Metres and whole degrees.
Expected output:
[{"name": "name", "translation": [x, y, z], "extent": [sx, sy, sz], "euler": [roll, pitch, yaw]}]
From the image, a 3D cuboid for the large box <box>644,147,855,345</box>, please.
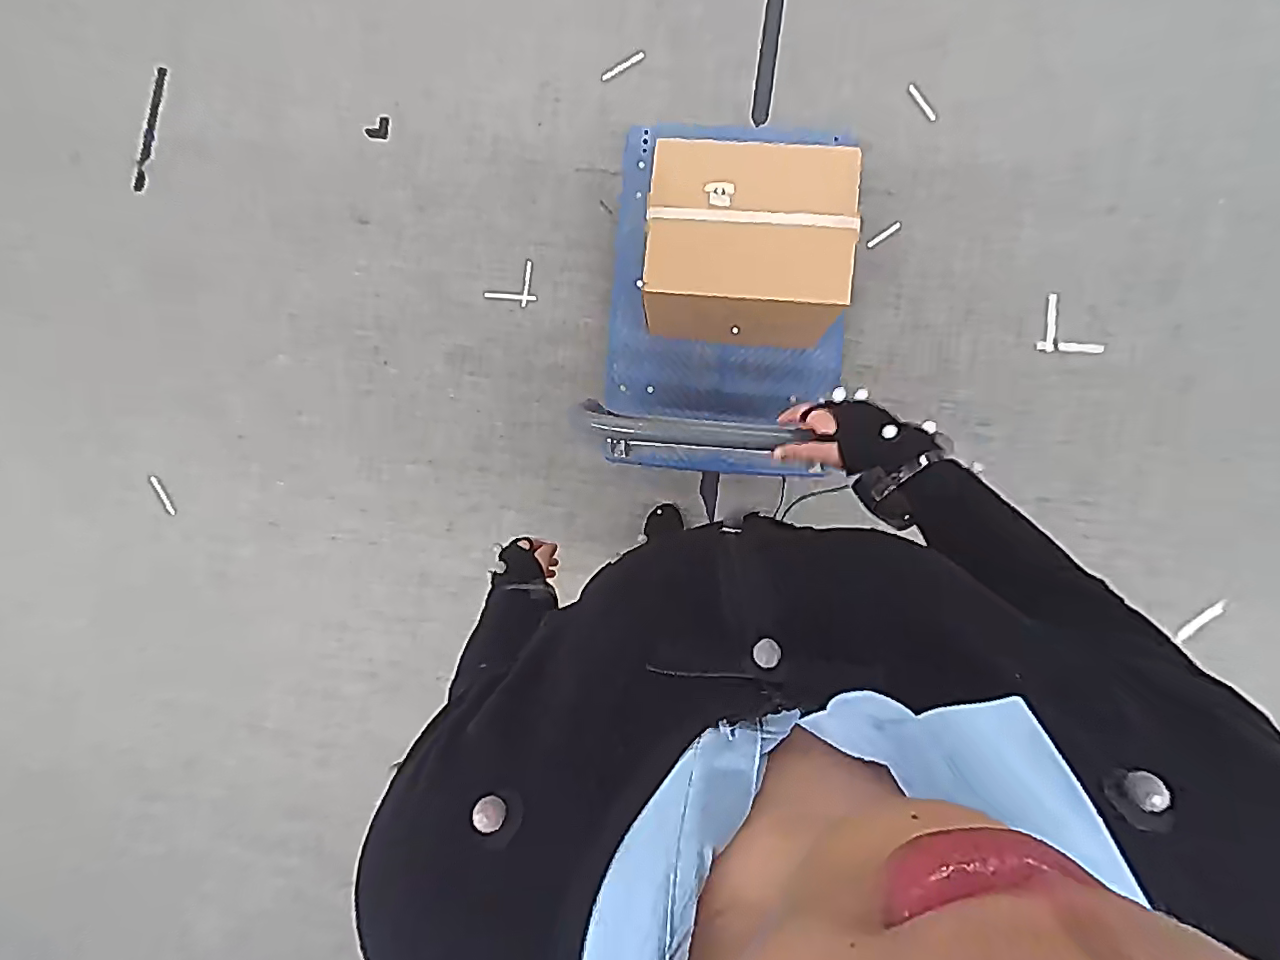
[{"name": "large box", "translation": [0.230, -0.503, 1.219], "extent": [0.408, 0.320, 0.320], "euler": [5, 87, 5]}]
